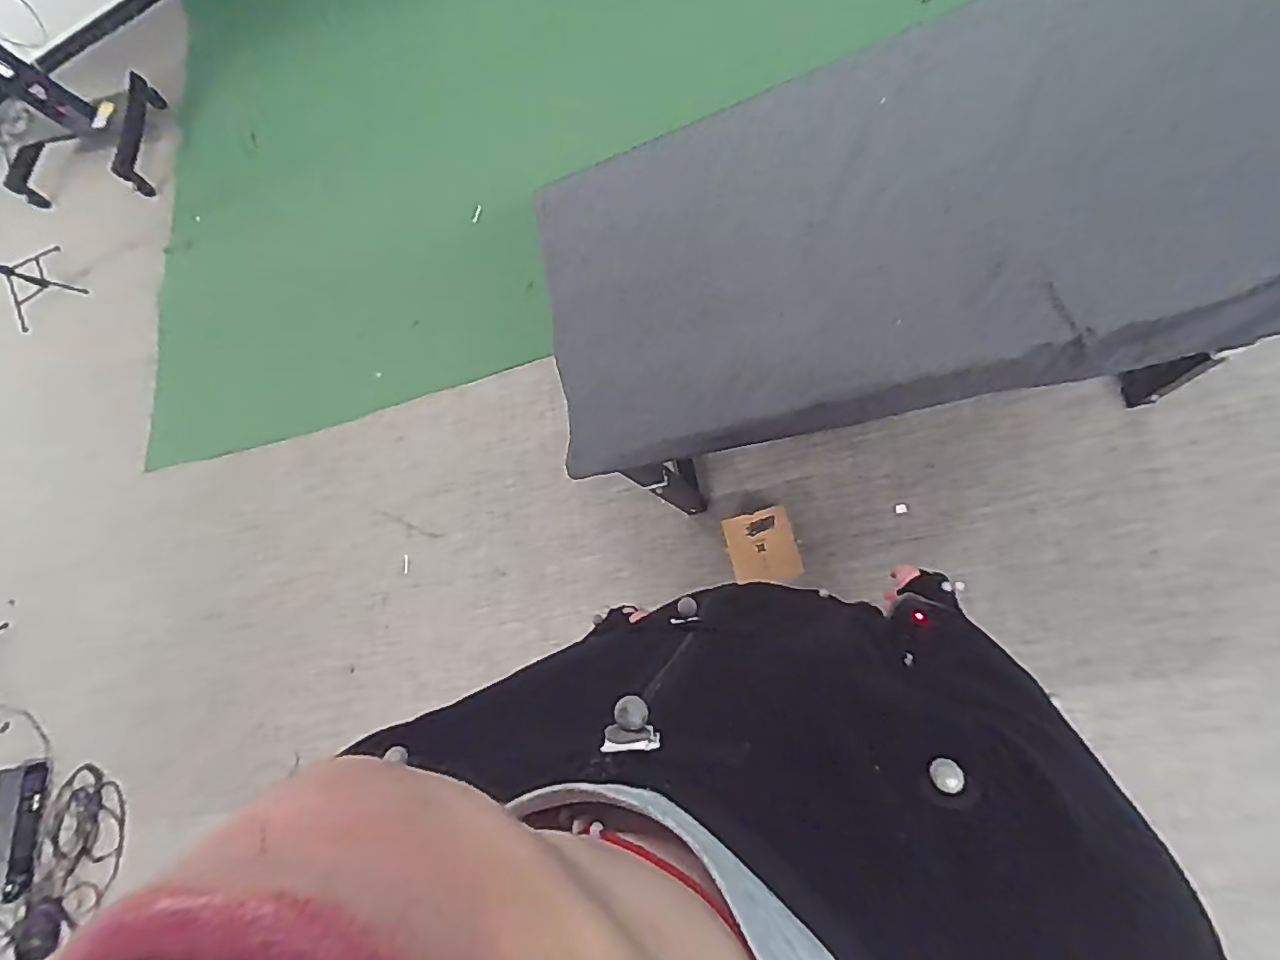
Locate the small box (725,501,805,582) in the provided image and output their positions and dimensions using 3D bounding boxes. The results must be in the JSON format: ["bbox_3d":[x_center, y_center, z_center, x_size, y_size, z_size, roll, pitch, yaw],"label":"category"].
[{"bbox_3d":[0.335,0.169,1.440,0.168,0.176,0.179,-16,75,16],"label":"small box"}]
